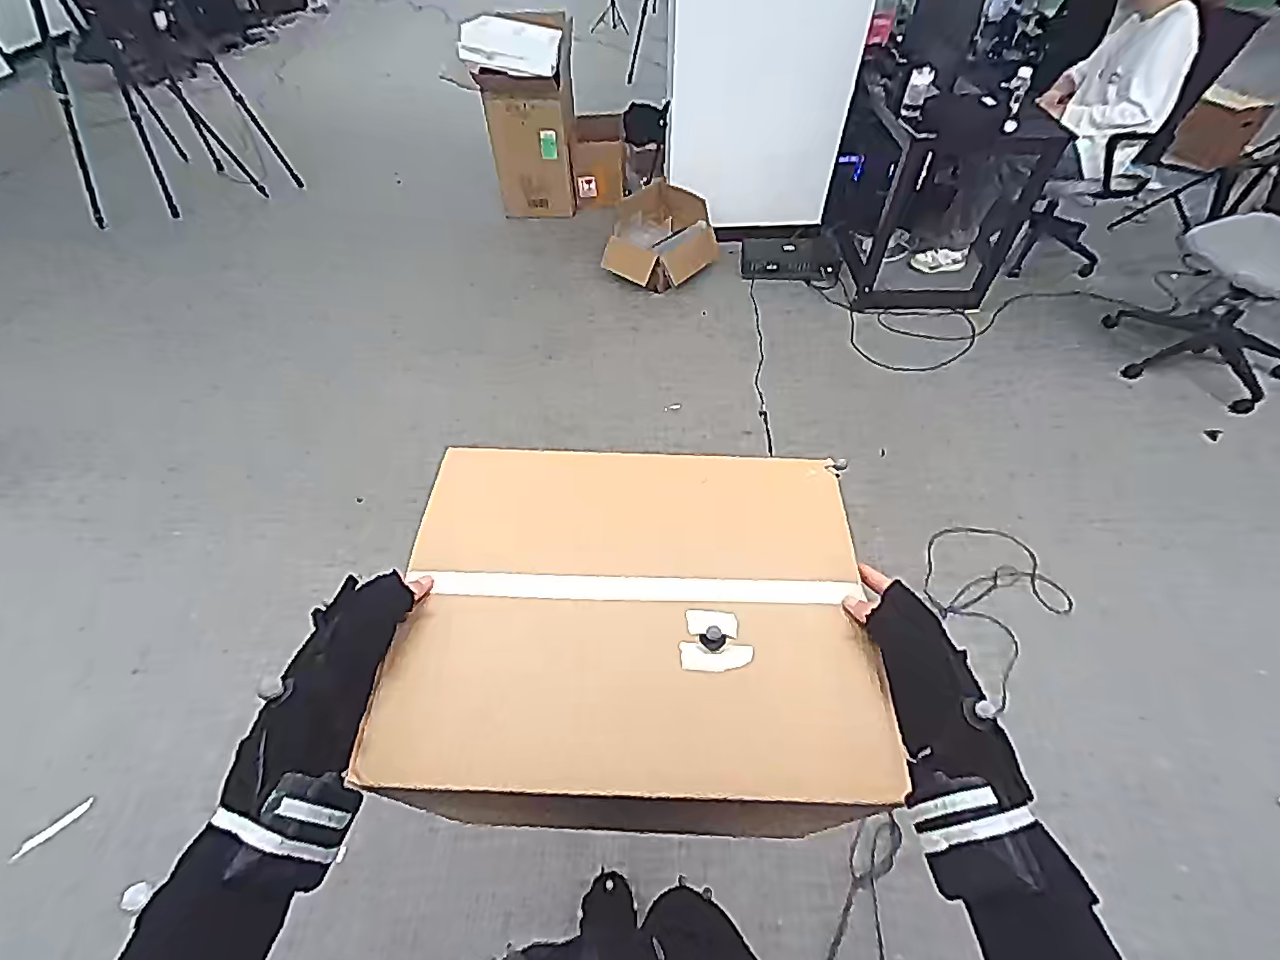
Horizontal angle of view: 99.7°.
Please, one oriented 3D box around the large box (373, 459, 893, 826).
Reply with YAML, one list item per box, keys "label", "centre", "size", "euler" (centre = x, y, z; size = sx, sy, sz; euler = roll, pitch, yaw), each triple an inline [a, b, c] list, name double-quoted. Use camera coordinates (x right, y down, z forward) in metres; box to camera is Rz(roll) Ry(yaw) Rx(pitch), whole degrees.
- label: "large box"
  centre: [-0.006, 0.194, 0.613]
  size: [0.408, 0.320, 0.320]
  euler: [2, 53, 0]
